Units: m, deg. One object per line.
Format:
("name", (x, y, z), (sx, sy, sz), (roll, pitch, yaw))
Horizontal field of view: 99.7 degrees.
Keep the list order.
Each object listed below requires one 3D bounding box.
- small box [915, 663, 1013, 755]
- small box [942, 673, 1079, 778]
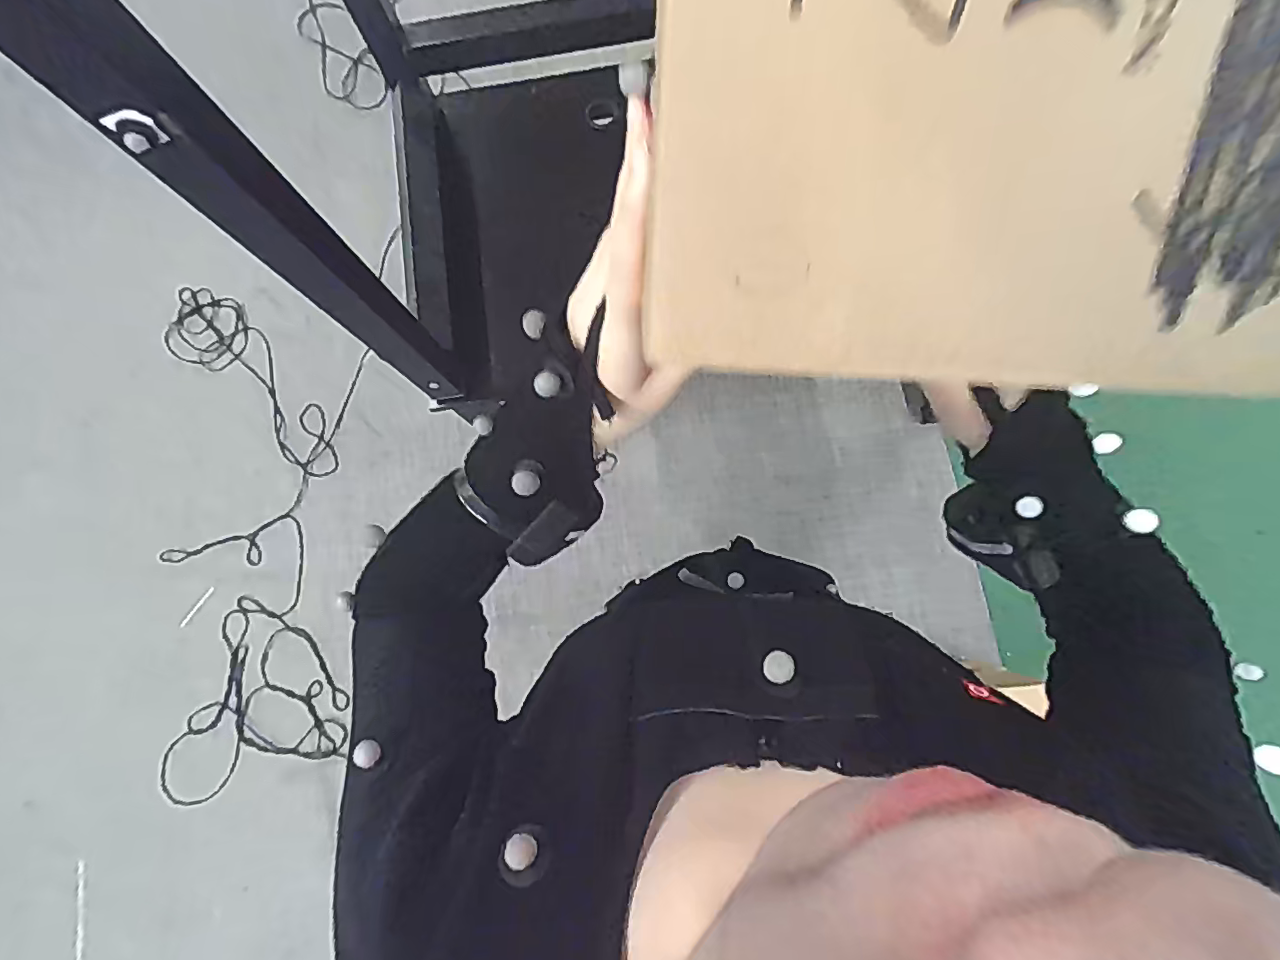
("small box", (0.799, 0.552, 1.324), (0.168, 0.176, 0.179), (-5, 80, 3))
("small box", (0.782, 0.521, 1.166), (0.179, 0.176, 0.168), (-7, 80, 2))
